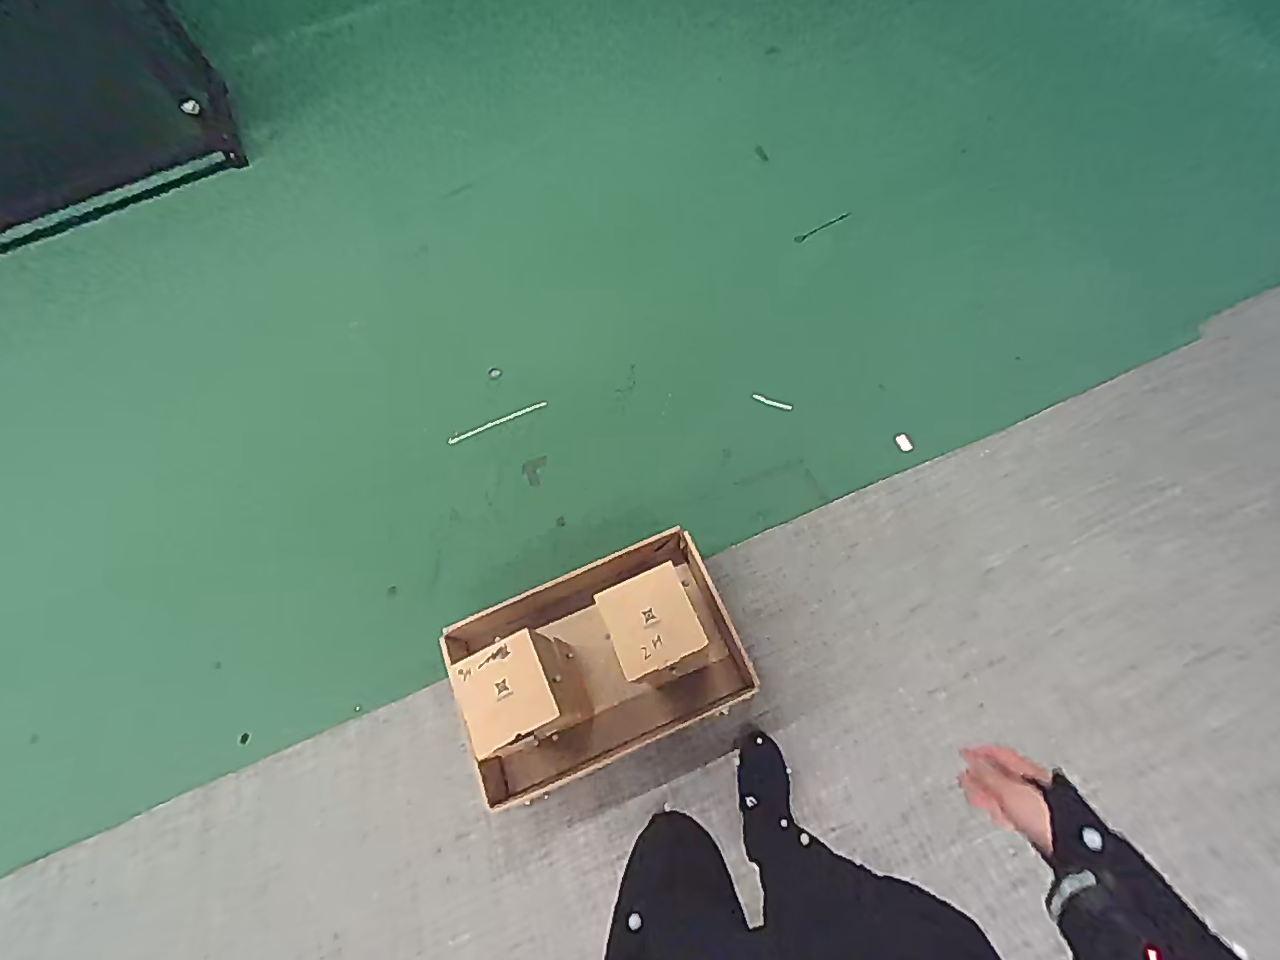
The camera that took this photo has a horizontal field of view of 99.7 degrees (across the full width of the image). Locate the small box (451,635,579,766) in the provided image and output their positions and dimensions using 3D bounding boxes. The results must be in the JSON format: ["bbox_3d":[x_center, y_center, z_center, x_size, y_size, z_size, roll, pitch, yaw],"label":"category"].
[{"bbox_3d":[-0.235,0.421,1.051,0.168,0.176,0.179,-26,68,-5],"label":"small box"}]

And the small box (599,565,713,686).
[{"bbox_3d":[0.034,0.294,1.073,0.168,0.176,0.179,-24,68,-3],"label":"small box"}]
